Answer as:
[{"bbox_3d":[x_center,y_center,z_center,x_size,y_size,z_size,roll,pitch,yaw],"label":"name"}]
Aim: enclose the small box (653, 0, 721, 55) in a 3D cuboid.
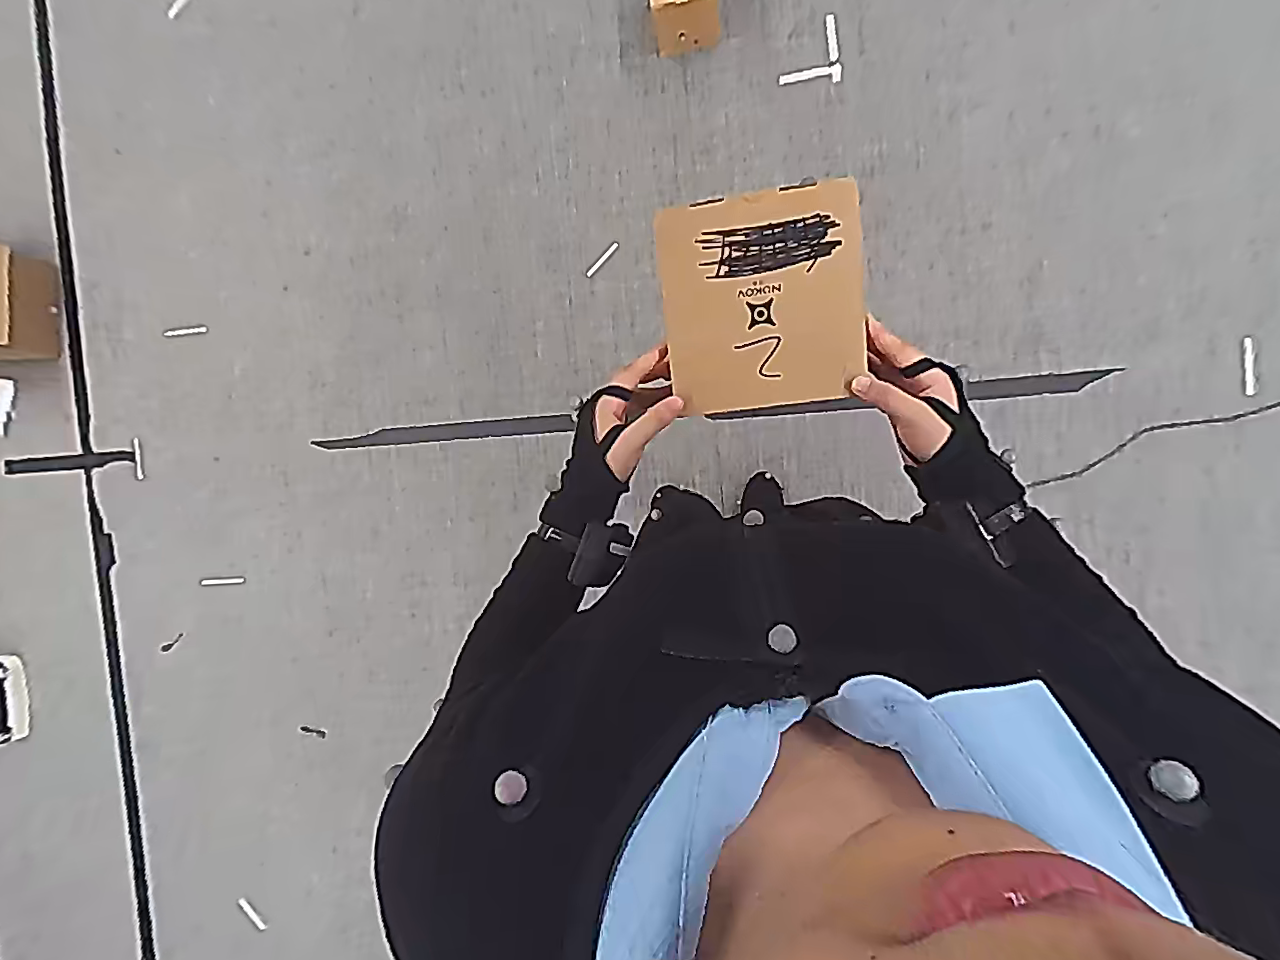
[{"bbox_3d":[0.116,-1.244,1.378,0.168,0.176,0.179,-7,91,8],"label":"small box"}]
